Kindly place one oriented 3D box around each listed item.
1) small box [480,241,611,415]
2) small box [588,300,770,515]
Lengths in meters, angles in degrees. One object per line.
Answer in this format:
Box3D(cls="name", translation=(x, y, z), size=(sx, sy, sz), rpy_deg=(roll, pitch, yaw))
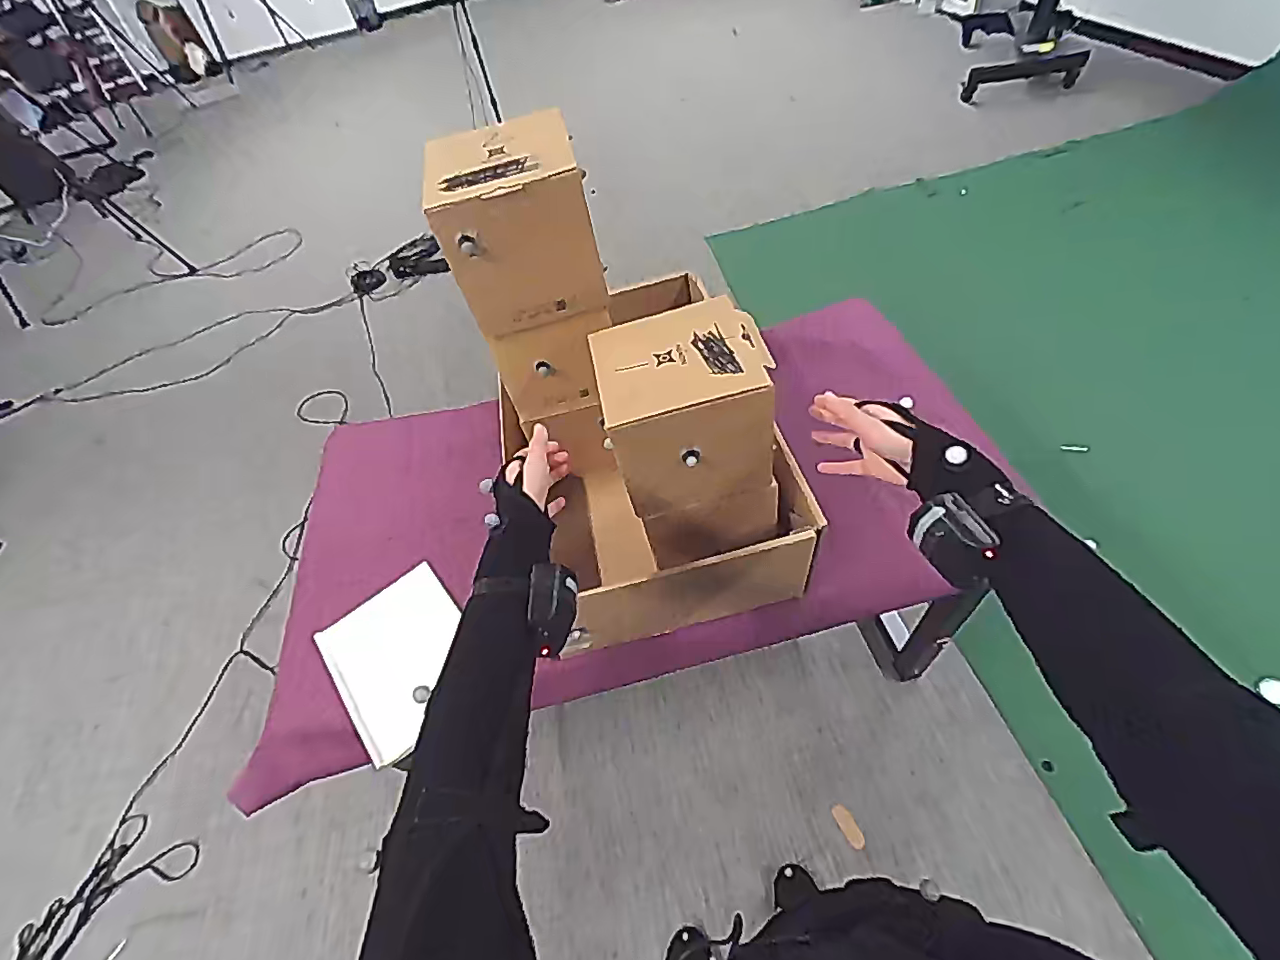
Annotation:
Box3D(cls="small box", translation=(-0.126, -0.215, 0.802), size=(0.168, 0.176, 0.179), rpy_deg=(-14, 53, 1))
Box3D(cls="small box", translation=(0.048, -0.082, 0.654), size=(0.179, 0.176, 0.168), rpy_deg=(-15, 50, 3))
